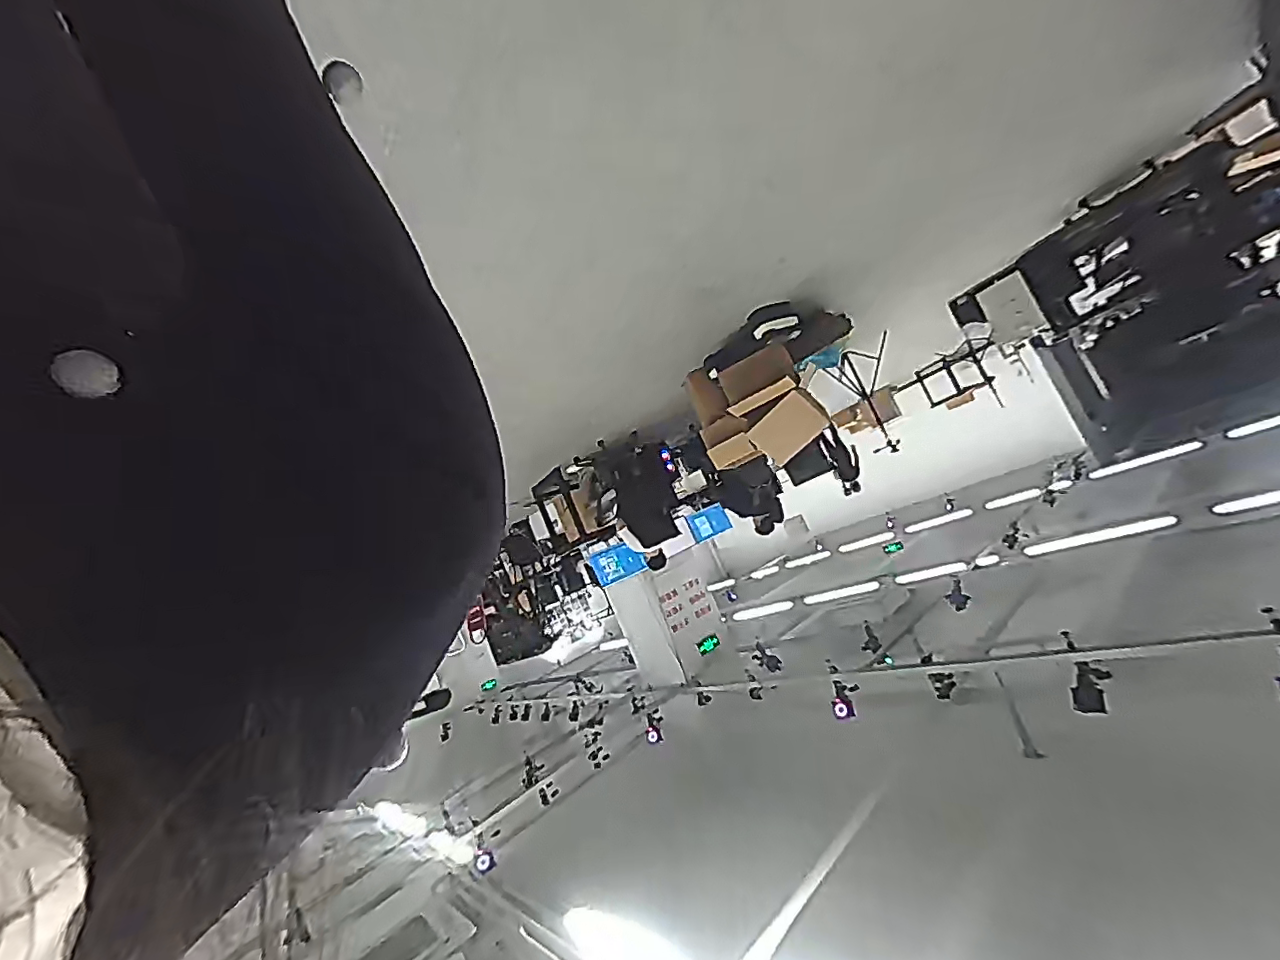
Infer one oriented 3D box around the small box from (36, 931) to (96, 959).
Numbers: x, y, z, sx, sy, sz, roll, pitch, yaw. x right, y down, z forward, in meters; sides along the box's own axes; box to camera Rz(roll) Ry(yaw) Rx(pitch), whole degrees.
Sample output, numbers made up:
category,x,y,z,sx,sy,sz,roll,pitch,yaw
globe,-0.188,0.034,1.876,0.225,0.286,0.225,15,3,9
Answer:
category,x,y,z,sx,sy,sz,roll,pitch,yaw
small box,-1.721,1.478,1.573,0.179,0.176,0.168,-21,170,-36
